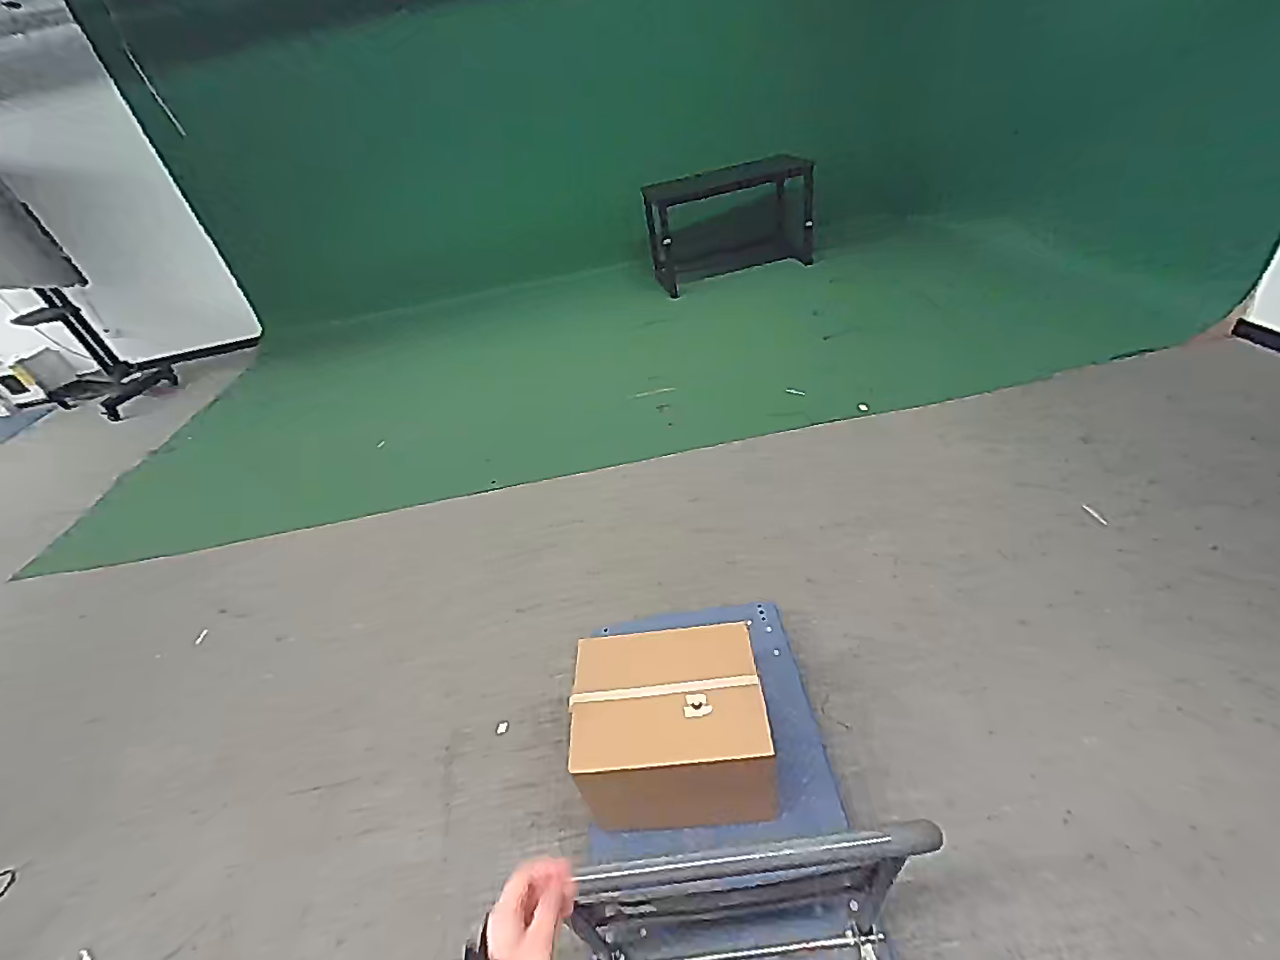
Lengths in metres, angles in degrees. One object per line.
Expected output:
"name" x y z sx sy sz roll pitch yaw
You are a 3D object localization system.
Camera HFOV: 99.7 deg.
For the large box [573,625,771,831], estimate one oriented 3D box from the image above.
"large box" 0.074 0.580 1.269 0.408 0.320 0.320 -7 38 4
